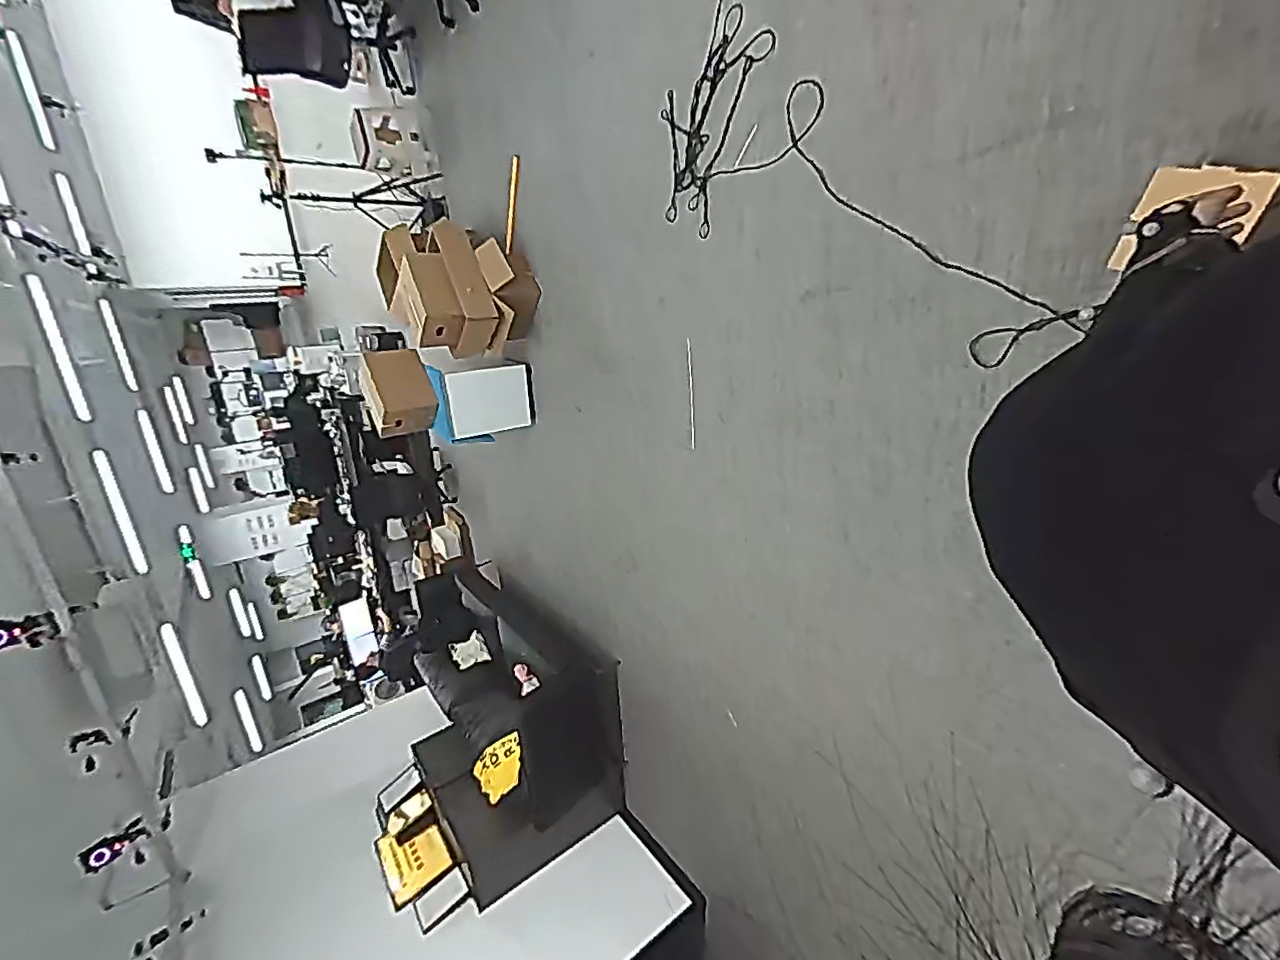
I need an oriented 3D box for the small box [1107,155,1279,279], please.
[{"bbox_3d":[1.011,-0.477,0.982,0.168,0.176,0.179,38,134,41],"label":"small box"}]
